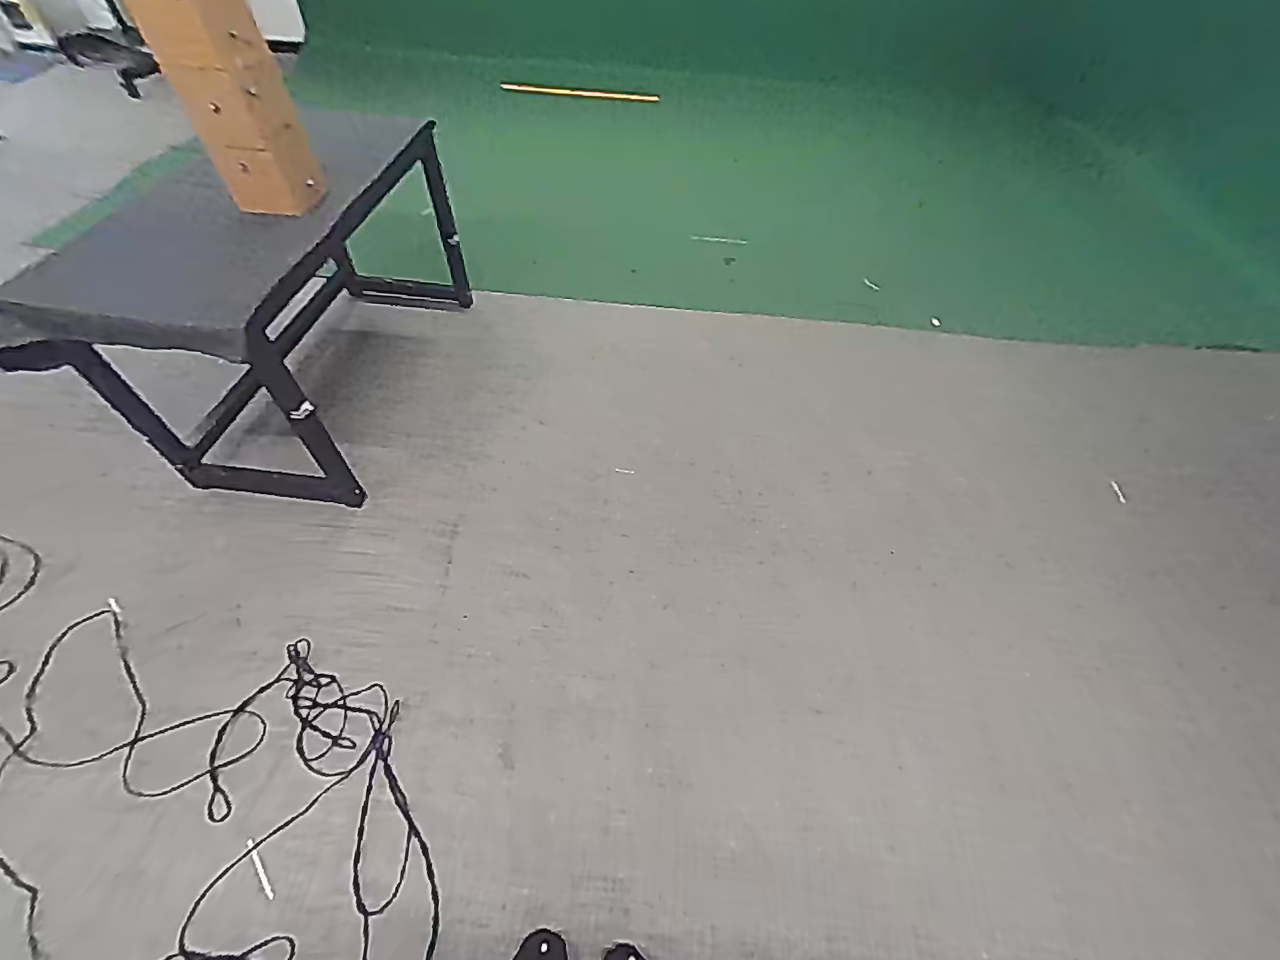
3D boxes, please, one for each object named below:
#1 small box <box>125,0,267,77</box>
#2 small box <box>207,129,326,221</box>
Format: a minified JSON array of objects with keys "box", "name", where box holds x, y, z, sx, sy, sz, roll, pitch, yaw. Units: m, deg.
[{"box":[-1.002,-1.033,1.217,0.179,0.176,0.168,8,52,4],"name":"small box"},{"box":[-1.003,-0.827,1.471,0.179,0.176,0.168,5,52,2],"name":"small box"}]
